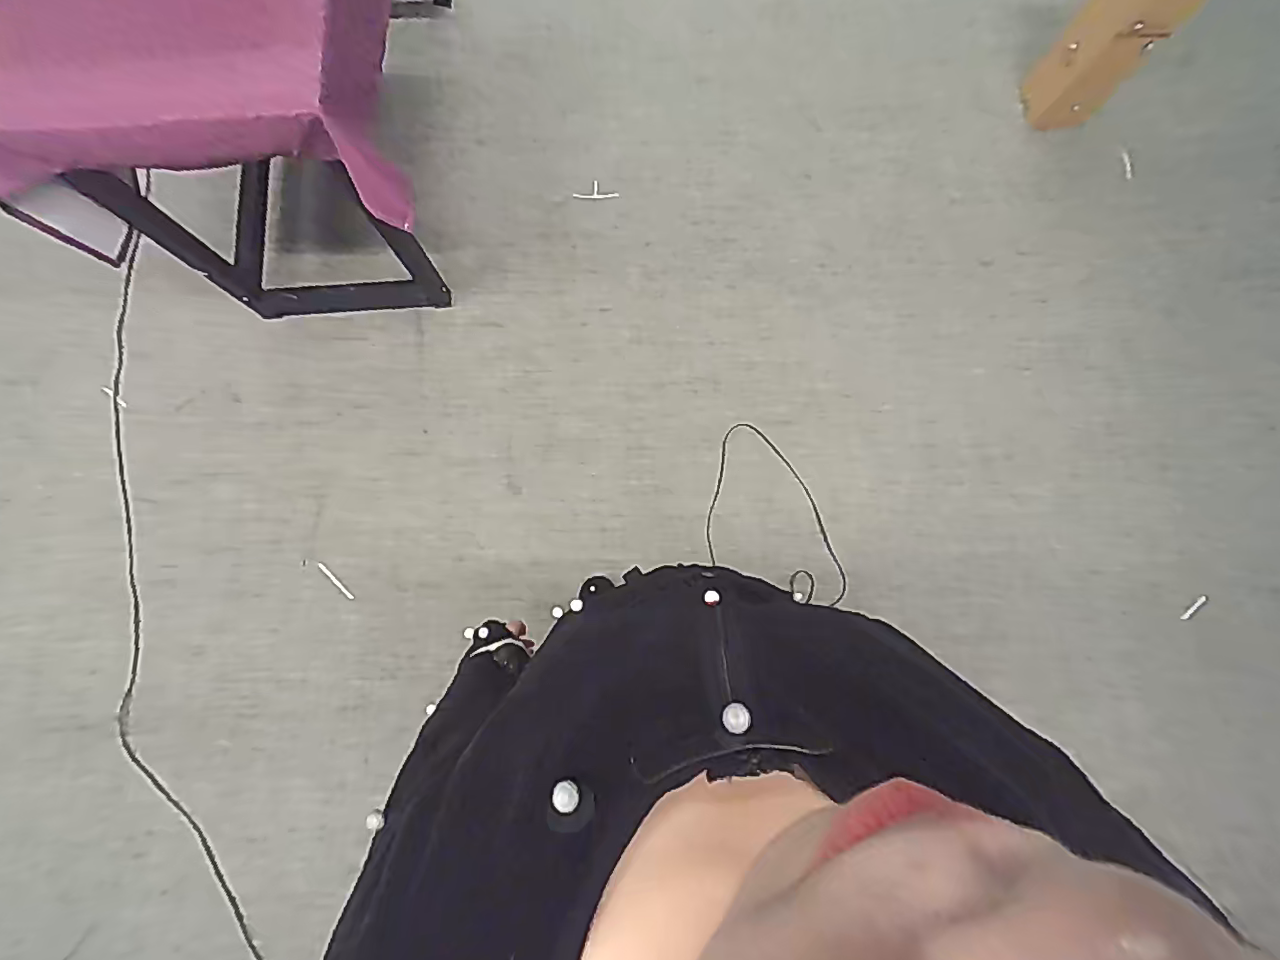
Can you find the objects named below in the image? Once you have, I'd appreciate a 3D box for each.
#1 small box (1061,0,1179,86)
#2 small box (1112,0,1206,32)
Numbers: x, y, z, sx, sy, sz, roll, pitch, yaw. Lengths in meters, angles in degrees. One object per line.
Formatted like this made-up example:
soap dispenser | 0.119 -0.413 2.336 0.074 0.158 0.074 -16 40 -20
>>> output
small box | 1.374 -1.279 1.557 0.179 0.176 0.168 -4 79 0
small box | 1.369 -1.301 1.394 0.168 0.176 0.179 -2 79 0
